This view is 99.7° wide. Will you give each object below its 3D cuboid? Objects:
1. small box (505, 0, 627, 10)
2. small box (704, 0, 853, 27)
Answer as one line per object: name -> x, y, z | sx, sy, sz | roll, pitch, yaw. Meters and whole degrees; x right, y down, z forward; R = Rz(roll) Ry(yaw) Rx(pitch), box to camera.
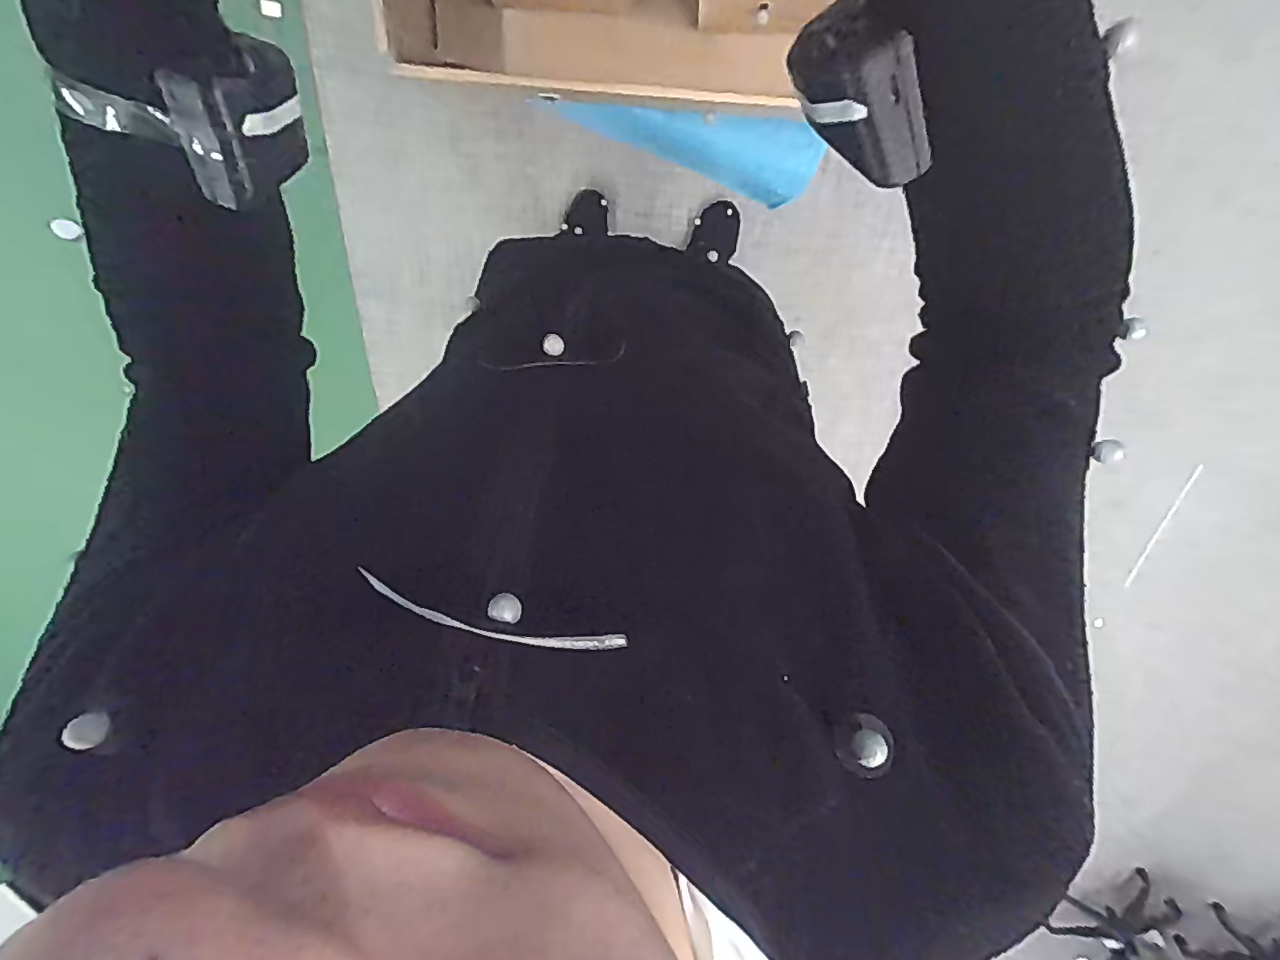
small box -> -0.095, -0.637, 0.581 | 0.179, 0.176, 0.168 | 4, 119, 0
small box -> 0.157, -0.605, 0.573 | 0.179, 0.176, 0.168 | 4, 119, 7
